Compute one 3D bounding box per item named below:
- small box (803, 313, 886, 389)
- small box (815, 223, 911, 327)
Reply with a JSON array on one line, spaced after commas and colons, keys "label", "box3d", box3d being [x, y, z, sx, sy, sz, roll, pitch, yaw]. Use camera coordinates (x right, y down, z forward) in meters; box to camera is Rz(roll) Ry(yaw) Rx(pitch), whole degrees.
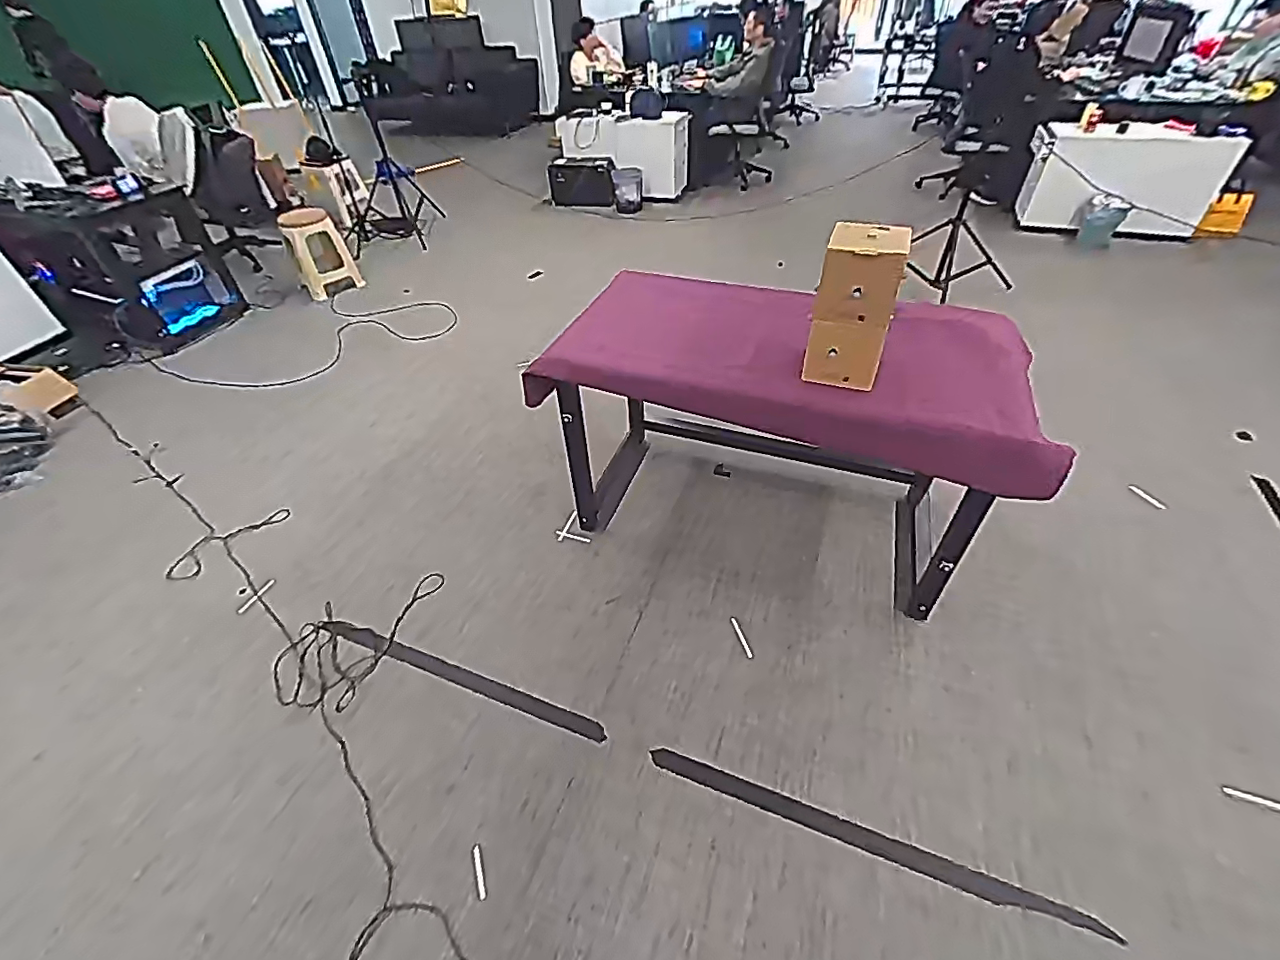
[{"label": "small box", "box3d": [0.510, -0.346, 1.346, 0.168, 0.176, 0.179, 13, 45, 17]}, {"label": "small box", "box3d": [0.506, -0.468, 1.237, 0.168, 0.176, 0.179, 14, 46, 18]}]
